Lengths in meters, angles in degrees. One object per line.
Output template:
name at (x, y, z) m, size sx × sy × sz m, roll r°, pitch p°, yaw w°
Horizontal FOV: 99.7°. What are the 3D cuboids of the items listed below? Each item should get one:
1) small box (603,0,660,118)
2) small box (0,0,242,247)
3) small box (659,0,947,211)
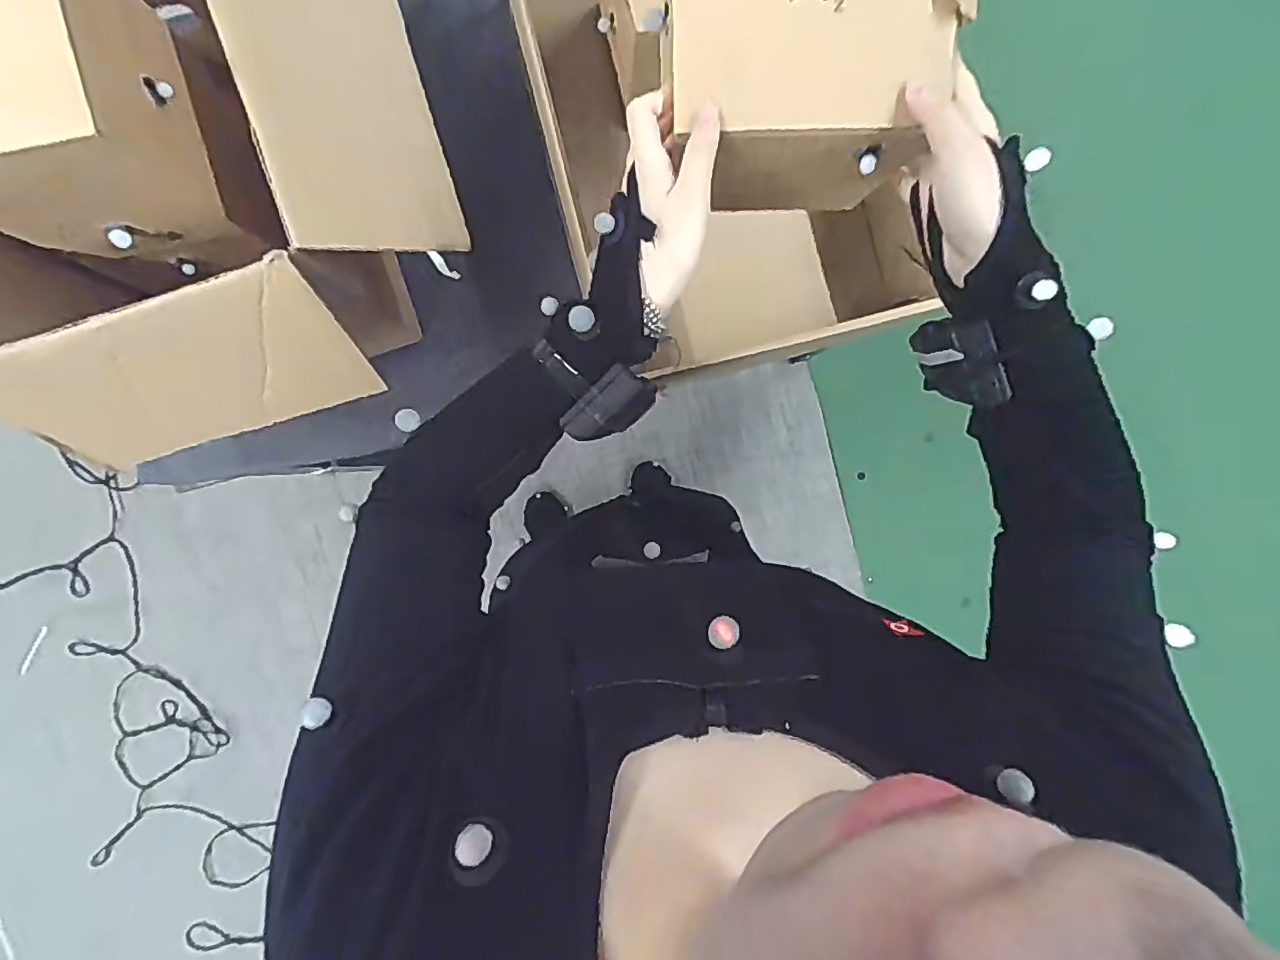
small box at (0.051, -0.557, 0.621) m, size 0.179 × 0.176 × 0.168 m, roll -14°, pitch 96°, yaw -1°
small box at (-0.491, -0.327, 0.460) m, size 0.168 × 0.176 × 0.179 m, roll -13°, pitch 95°, yaw -3°
small box at (0.103, -0.317, 0.413) m, size 0.179 × 0.176 × 0.168 m, roll -2°, pitch 101°, yaw -1°
